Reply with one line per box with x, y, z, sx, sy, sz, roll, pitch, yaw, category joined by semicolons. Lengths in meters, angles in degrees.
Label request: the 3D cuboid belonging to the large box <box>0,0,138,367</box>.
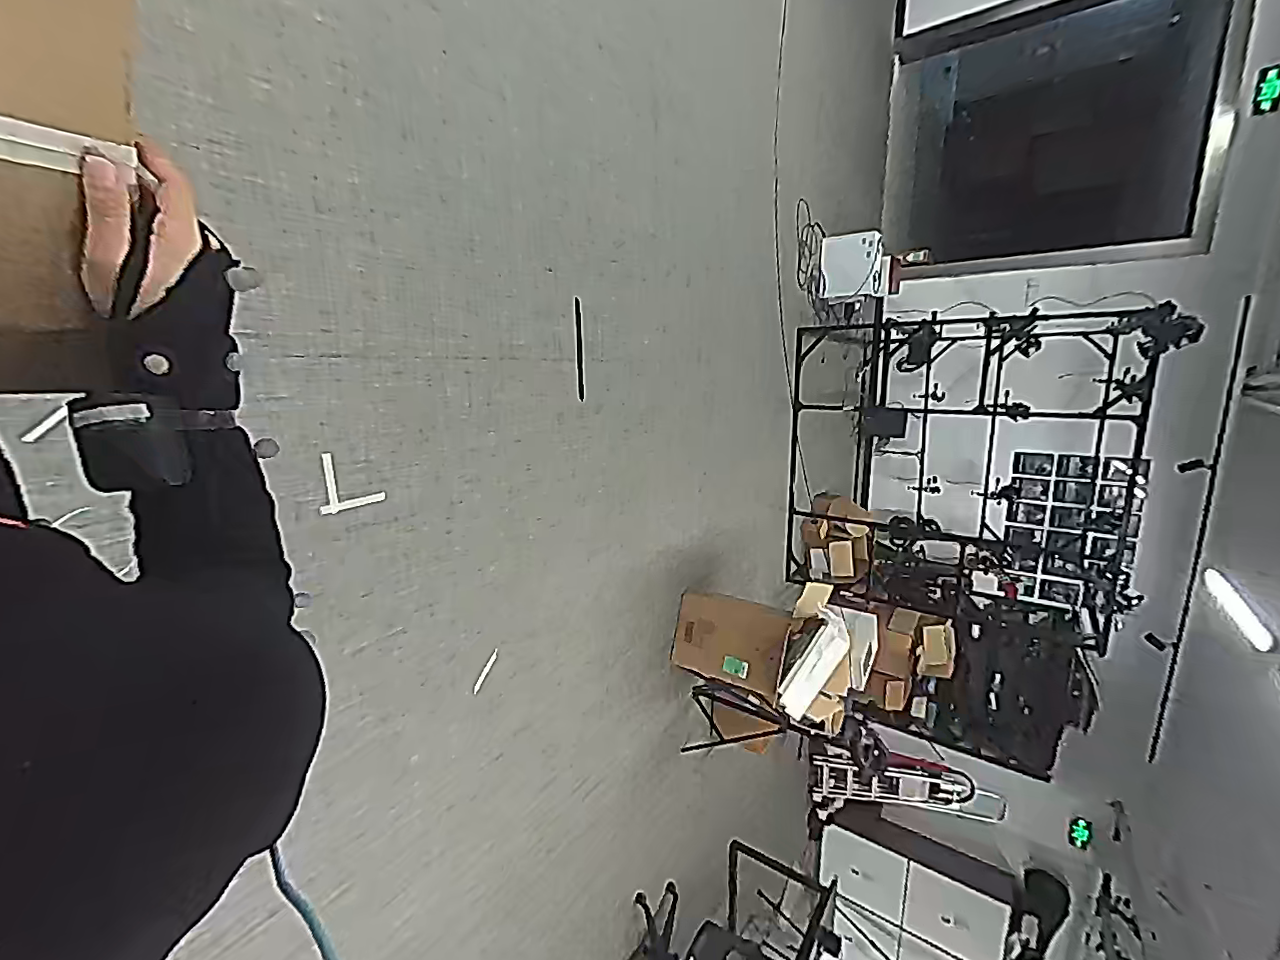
-0.530;-0.257;0.226;0.408;0.320;0.320;-16;142;-53;large box
